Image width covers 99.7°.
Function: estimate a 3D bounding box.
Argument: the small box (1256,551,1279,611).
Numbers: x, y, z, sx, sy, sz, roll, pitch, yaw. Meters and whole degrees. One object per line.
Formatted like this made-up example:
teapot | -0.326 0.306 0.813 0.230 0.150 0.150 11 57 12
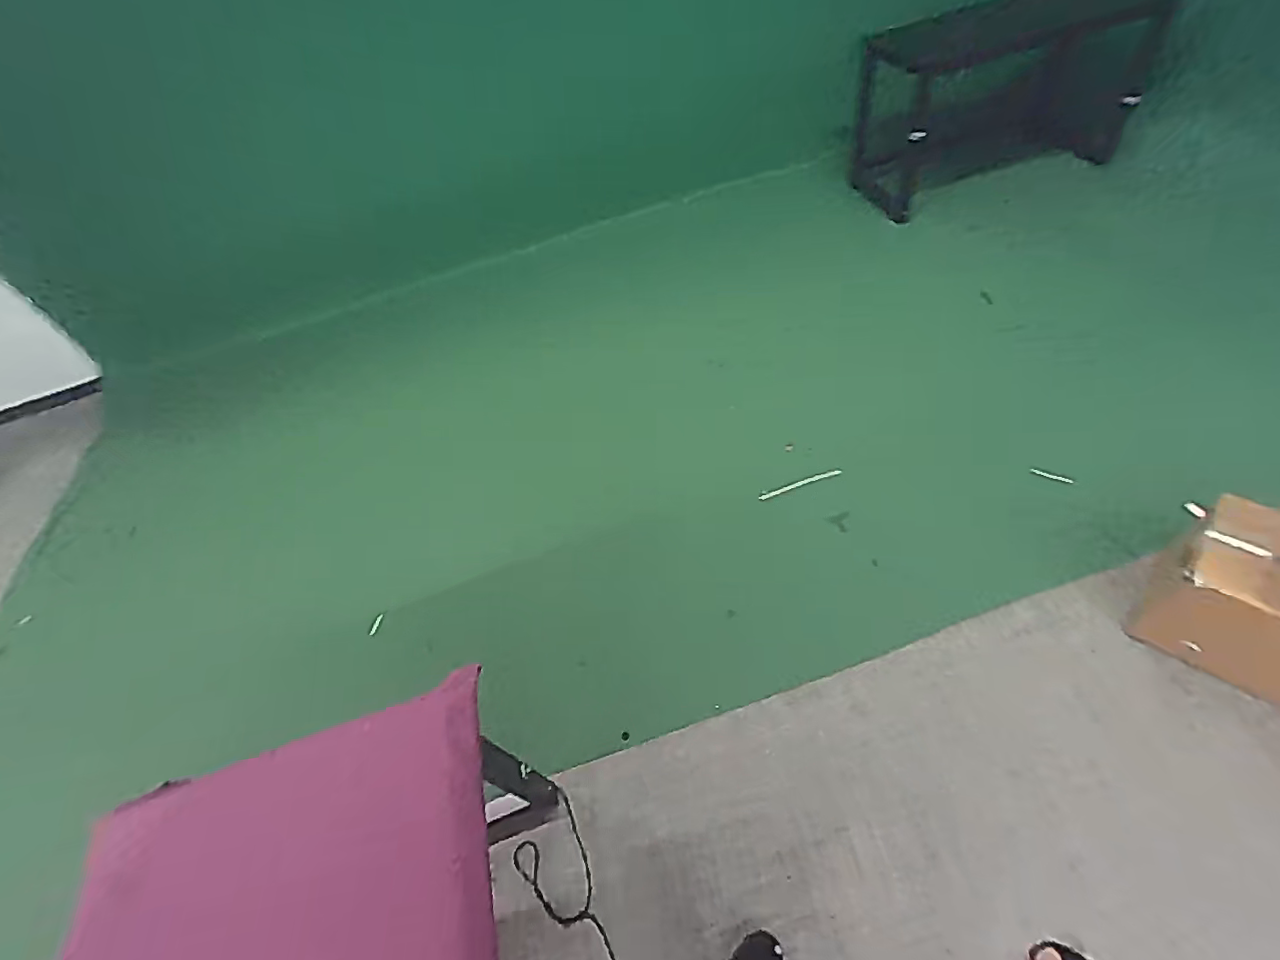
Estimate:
small box | 1.458 0.205 1.114 0.179 0.176 0.168 30 63 32
